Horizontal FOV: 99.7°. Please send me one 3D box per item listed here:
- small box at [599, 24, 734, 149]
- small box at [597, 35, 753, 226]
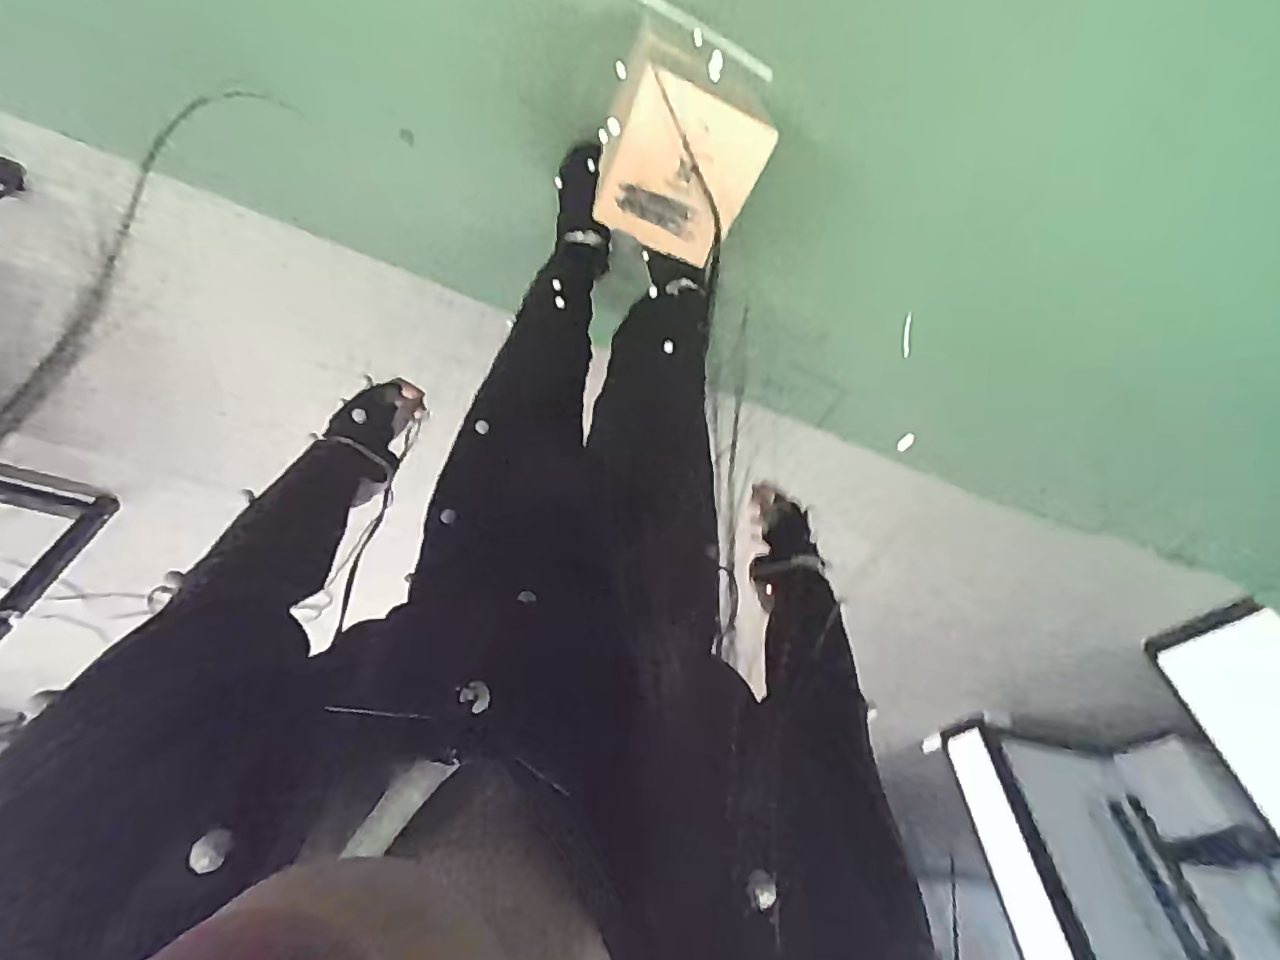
[{"bbox_3d":[0.038,-0.641,0.932,0.168,0.176,0.179,19,131,-18],"label":"small box"},{"bbox_3d":[0.042,-0.528,0.816,0.168,0.176,0.179,18,132,-18],"label":"small box"}]
